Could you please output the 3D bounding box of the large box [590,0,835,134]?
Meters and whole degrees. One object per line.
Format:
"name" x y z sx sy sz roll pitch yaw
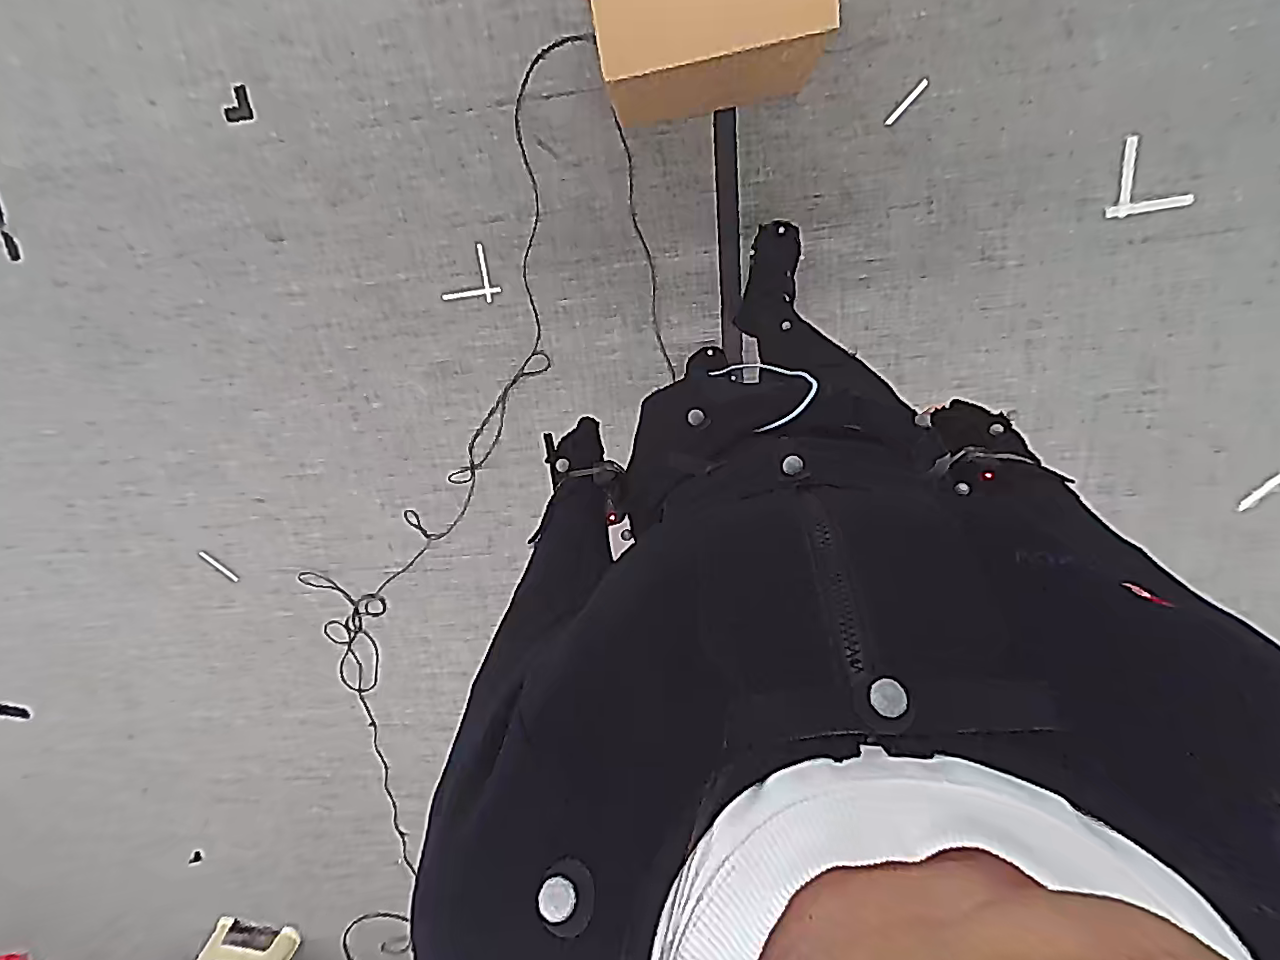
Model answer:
"large box" 0.112 -0.908 1.019 0.408 0.320 0.320 -8 108 6
